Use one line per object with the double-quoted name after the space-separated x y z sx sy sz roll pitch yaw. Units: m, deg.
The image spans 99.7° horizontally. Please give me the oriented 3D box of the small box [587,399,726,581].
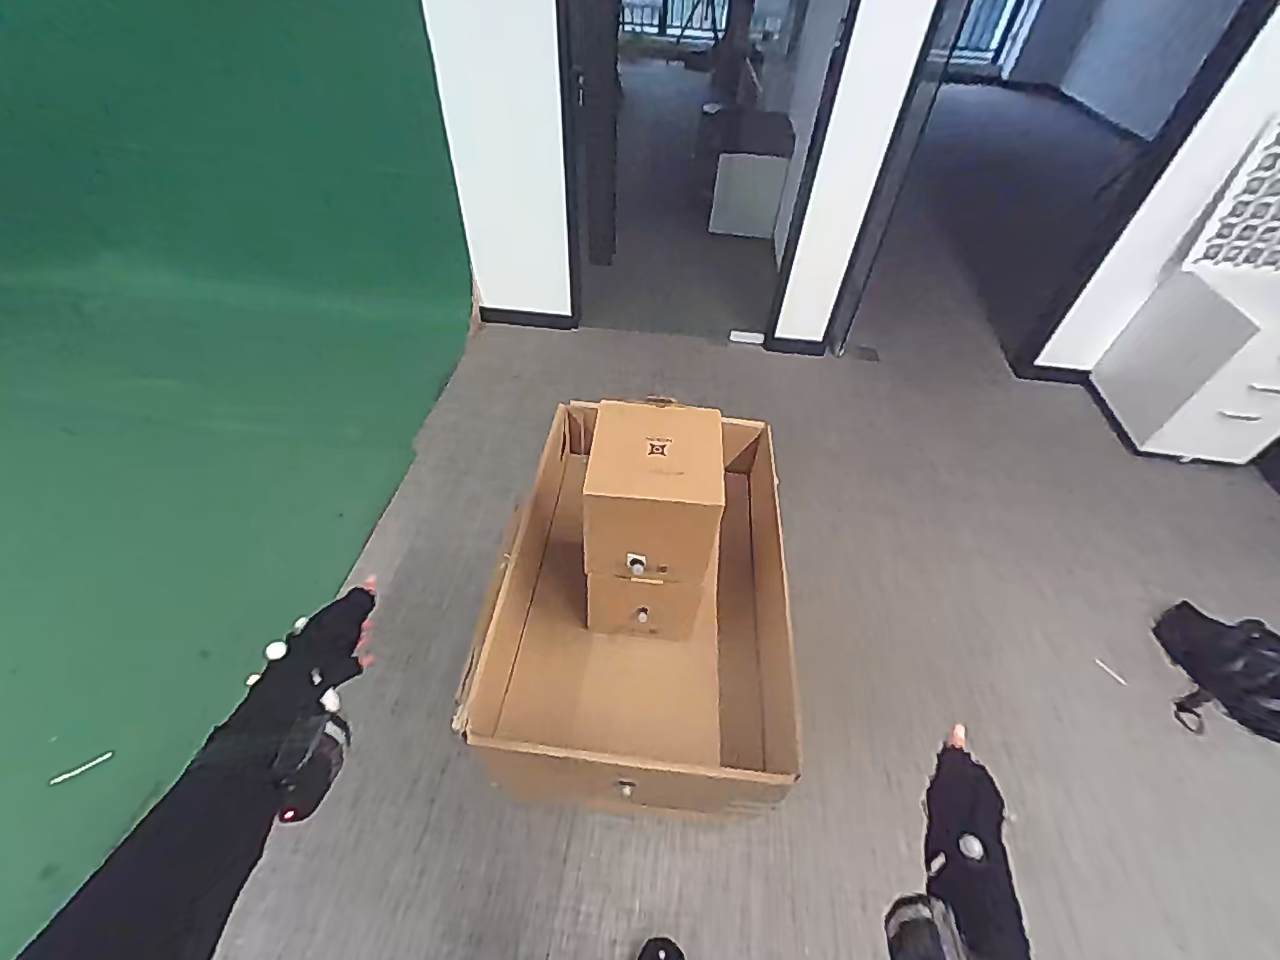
0.020 0.013 0.737 0.168 0.176 0.179 4 48 0 "small box"
